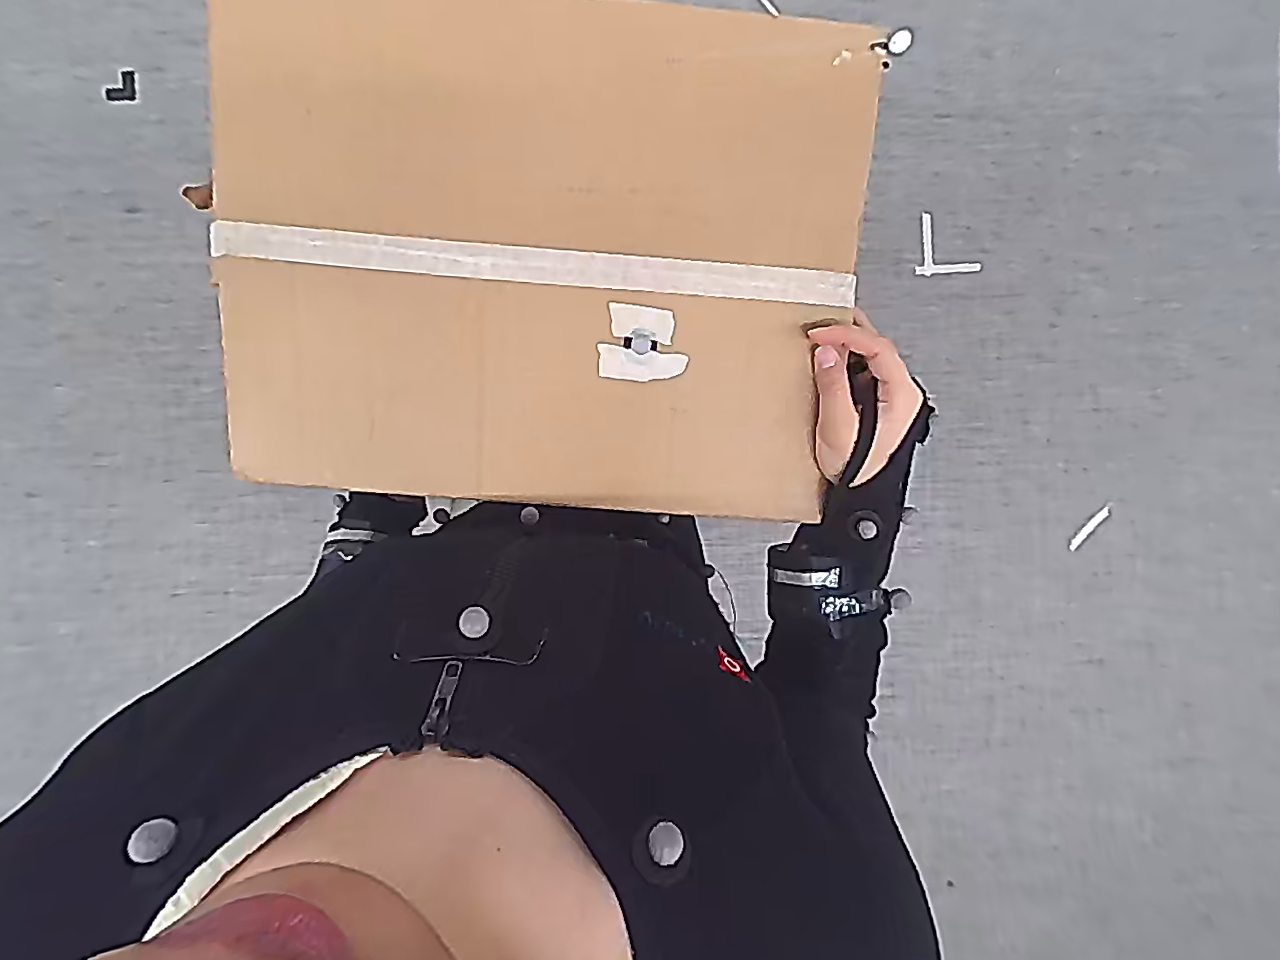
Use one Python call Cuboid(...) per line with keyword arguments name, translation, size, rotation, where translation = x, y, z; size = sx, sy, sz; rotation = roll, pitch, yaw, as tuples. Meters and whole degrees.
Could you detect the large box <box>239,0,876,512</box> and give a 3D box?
Cuboid(name="large box", translation=(-0.062, -0.159, 0.505), size=(0.408, 0.320, 0.320), rotation=(3, 100, -3))
